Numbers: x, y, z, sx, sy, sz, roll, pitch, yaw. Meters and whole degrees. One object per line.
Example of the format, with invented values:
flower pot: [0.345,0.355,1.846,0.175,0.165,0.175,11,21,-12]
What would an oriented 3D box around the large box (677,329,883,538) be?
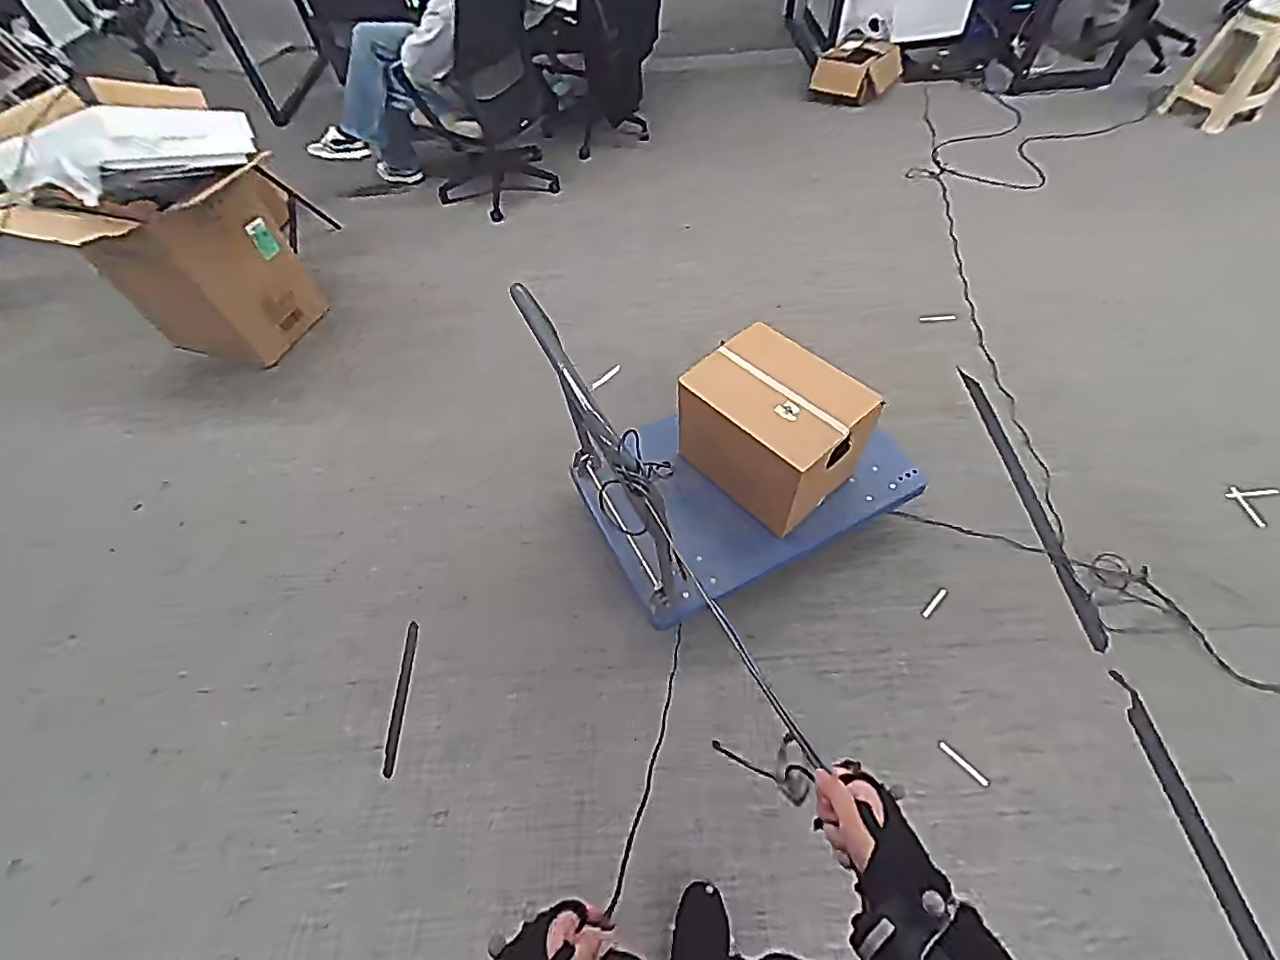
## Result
large box: [0.344,-0.125,1.447,0.320,0.320,0.408,-38,62,-19]
